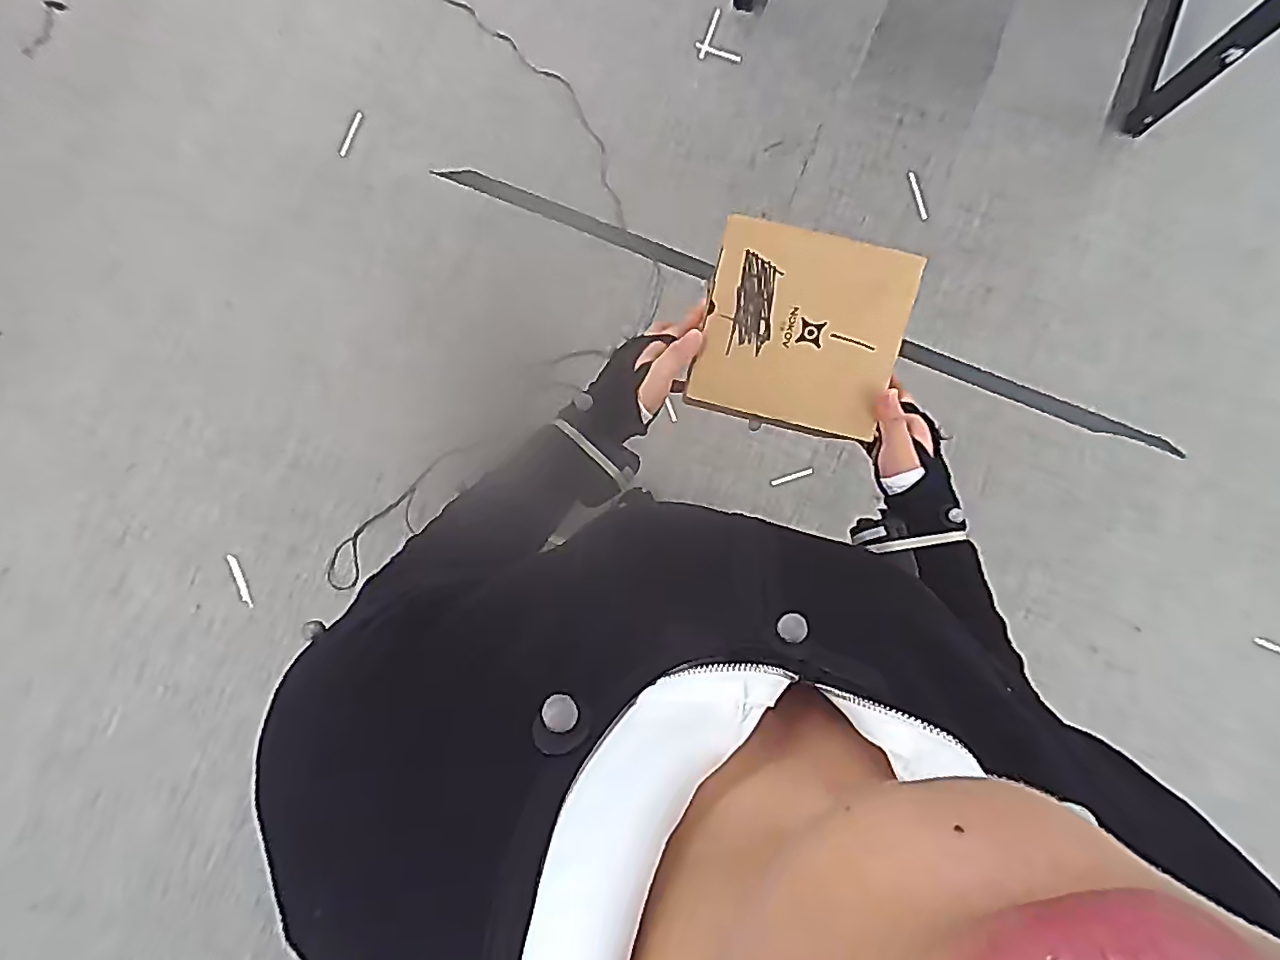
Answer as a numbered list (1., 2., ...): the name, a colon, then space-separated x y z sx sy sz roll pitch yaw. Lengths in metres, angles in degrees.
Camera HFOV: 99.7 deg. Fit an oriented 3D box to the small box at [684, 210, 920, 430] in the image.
1. small box: 0.148 -0.150 0.563 0.179 0.176 0.168 14 97 2
